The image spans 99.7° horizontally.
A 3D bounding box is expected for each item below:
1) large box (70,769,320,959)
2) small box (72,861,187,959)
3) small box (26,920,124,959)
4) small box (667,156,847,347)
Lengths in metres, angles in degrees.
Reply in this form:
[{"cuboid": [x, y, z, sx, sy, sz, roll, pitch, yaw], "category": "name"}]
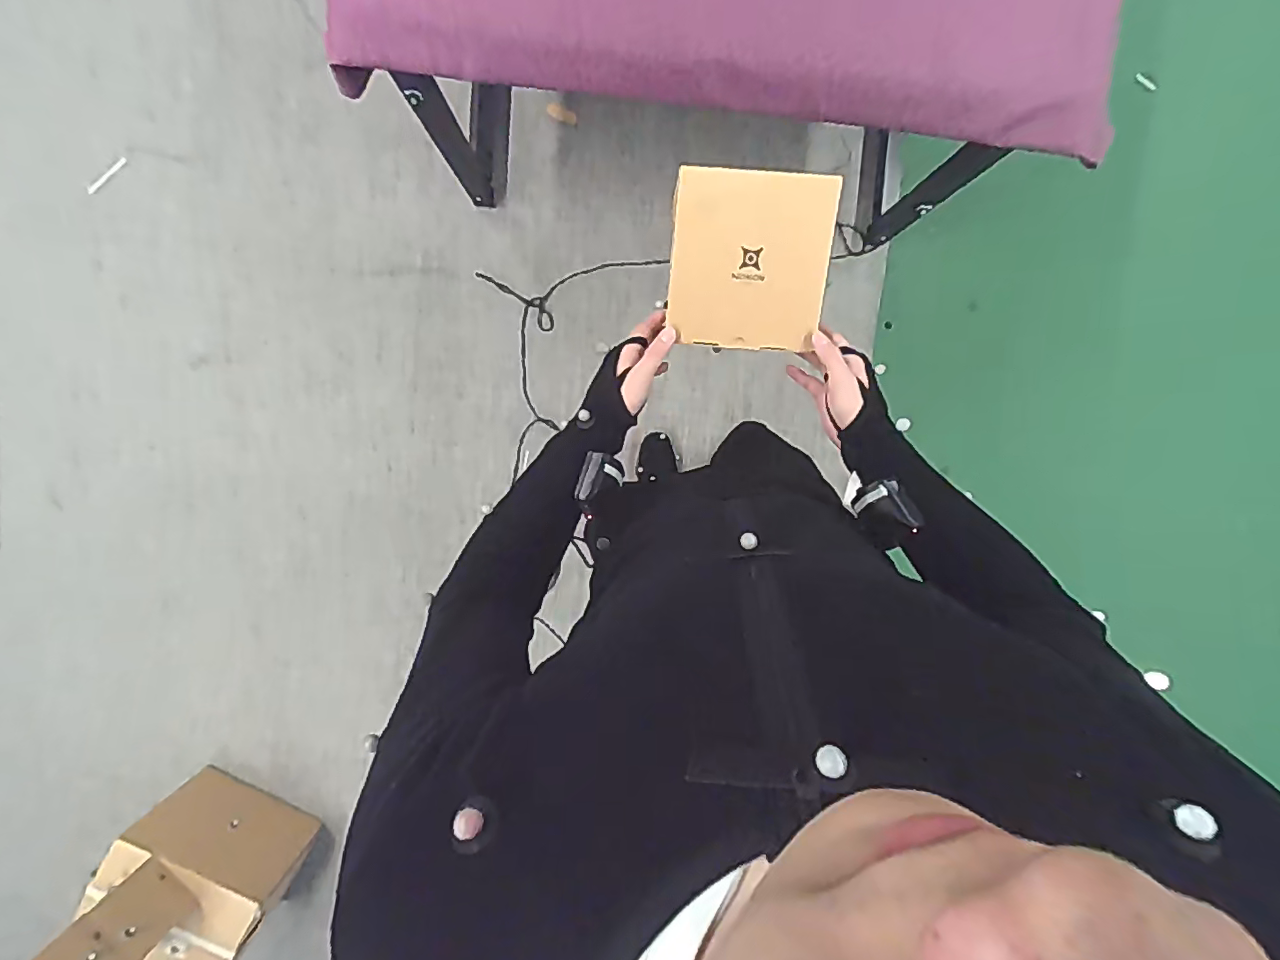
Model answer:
[{"cuboid": [-1.226, 1.108, 1.521, 0.408, 0.320, 0.320, 29, 94, -5], "category": "large box"}, {"cuboid": [-1.239, 1.062, 1.270, 0.179, 0.176, 0.168, -41, 95, 1], "category": "small box"}, {"cuboid": [-1.234, 1.073, 1.105, 0.179, 0.176, 0.168, -42, 96, 0], "category": "small box"}, {"cuboid": [0.121, -0.258, 0.639, 0.168, 0.176, 0.179, 4, 109, 0], "category": "small box"}]
